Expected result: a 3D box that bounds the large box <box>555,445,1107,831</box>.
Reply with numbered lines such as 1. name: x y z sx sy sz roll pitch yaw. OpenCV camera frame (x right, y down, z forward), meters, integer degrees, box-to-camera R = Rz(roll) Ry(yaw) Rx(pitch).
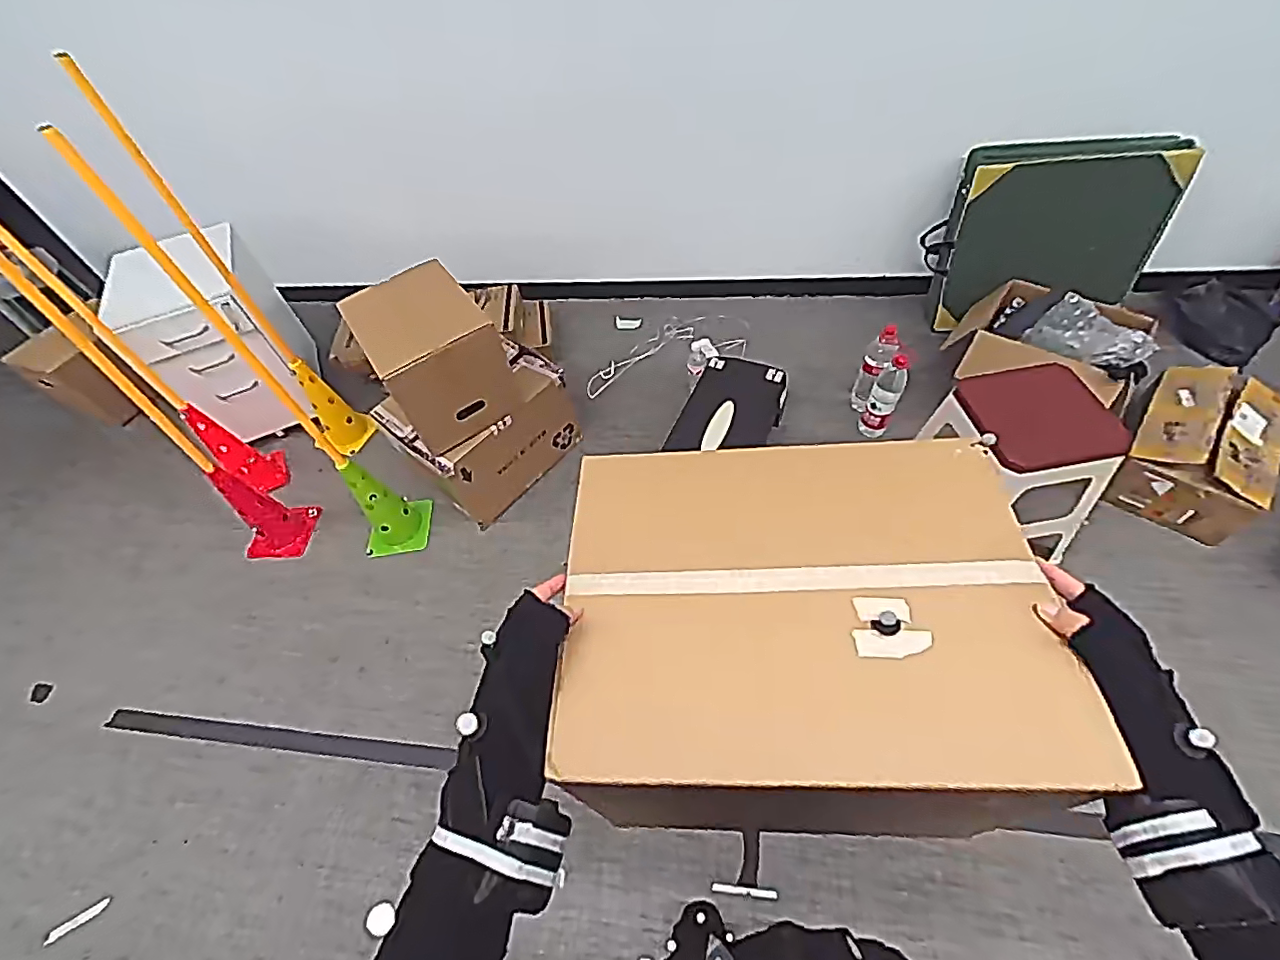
1. large box: 0.148 0.187 0.600 0.408 0.320 0.320 -3 51 6
